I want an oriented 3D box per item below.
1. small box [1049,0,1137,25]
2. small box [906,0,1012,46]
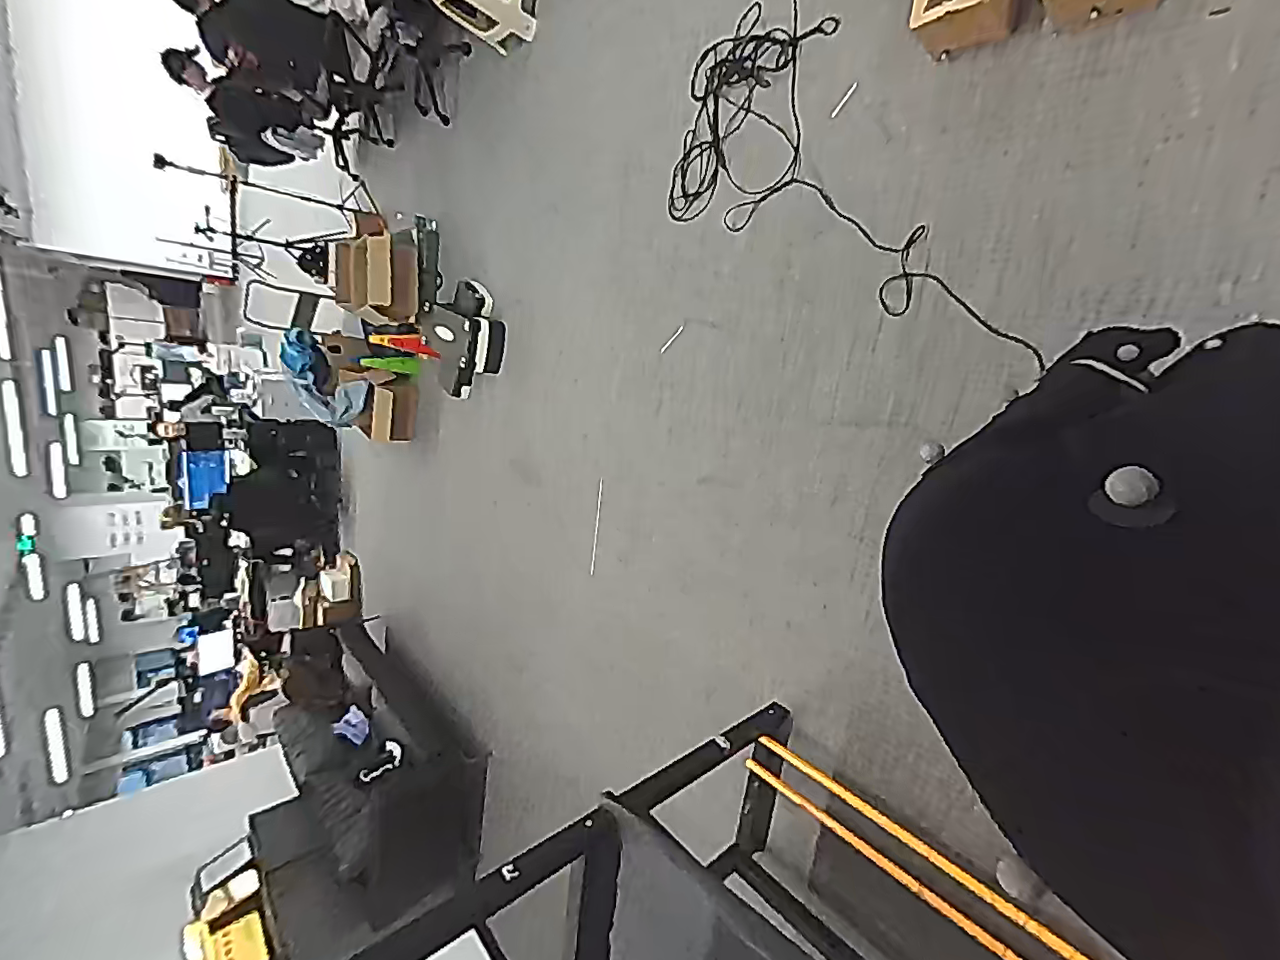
[{"bbox_3d":[0.898,-1.040,1.039,0.168,0.176,0.179,13,104,46],"label":"small box"},{"bbox_3d":[0.727,-1.120,1.212,0.168,0.176,0.179,17,106,45],"label":"small box"}]
